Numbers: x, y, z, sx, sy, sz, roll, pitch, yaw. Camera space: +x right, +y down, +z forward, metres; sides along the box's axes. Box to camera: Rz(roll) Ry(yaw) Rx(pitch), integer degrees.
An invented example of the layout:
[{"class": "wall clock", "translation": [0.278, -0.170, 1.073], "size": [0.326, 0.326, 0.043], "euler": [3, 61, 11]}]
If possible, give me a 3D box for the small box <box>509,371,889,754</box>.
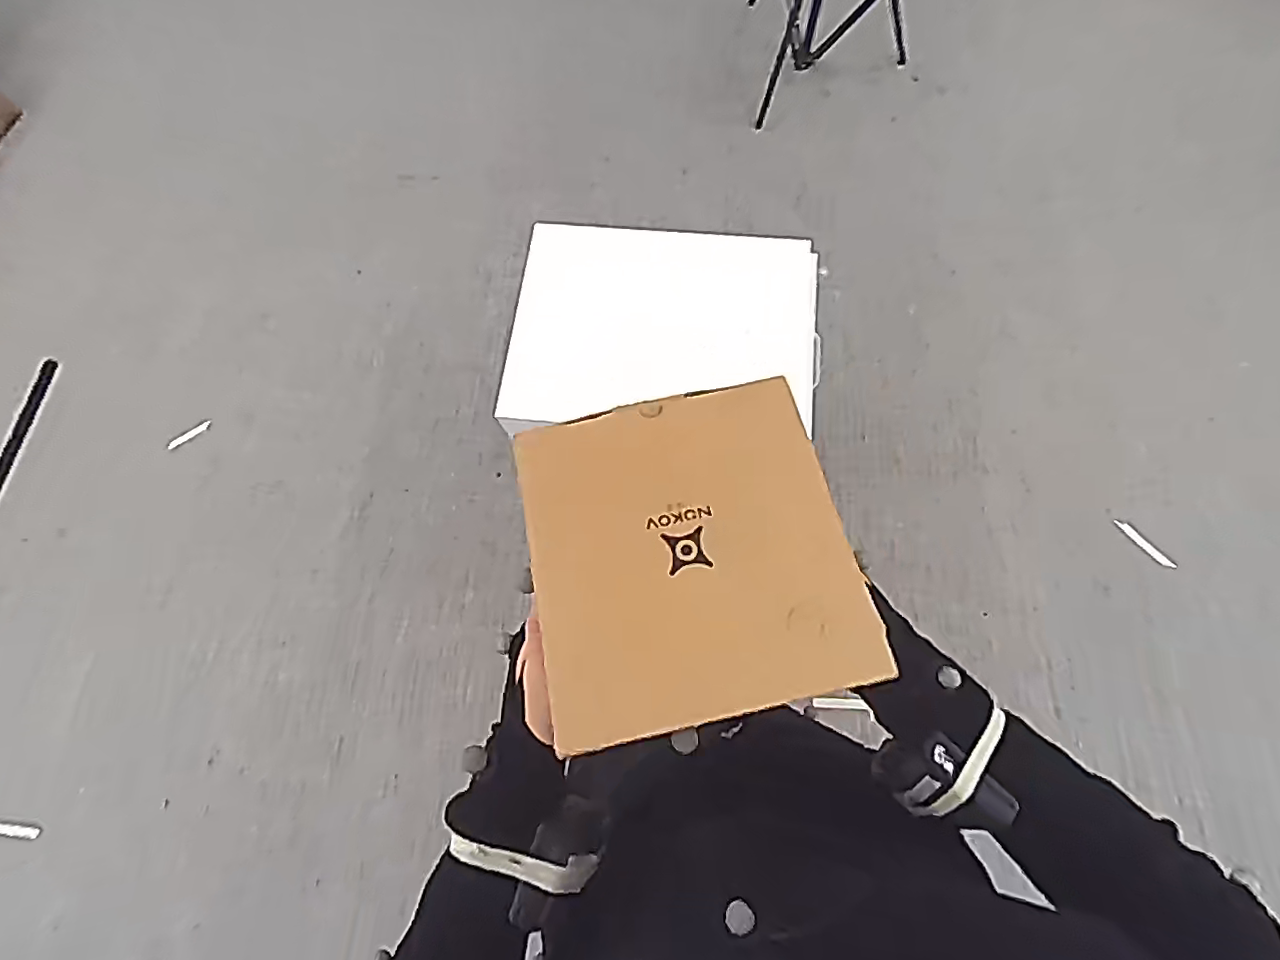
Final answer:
[{"class": "small box", "translation": [0.026, 0.061, 0.356], "size": [0.168, 0.176, 0.179], "euler": [-13, 66, -2]}]
